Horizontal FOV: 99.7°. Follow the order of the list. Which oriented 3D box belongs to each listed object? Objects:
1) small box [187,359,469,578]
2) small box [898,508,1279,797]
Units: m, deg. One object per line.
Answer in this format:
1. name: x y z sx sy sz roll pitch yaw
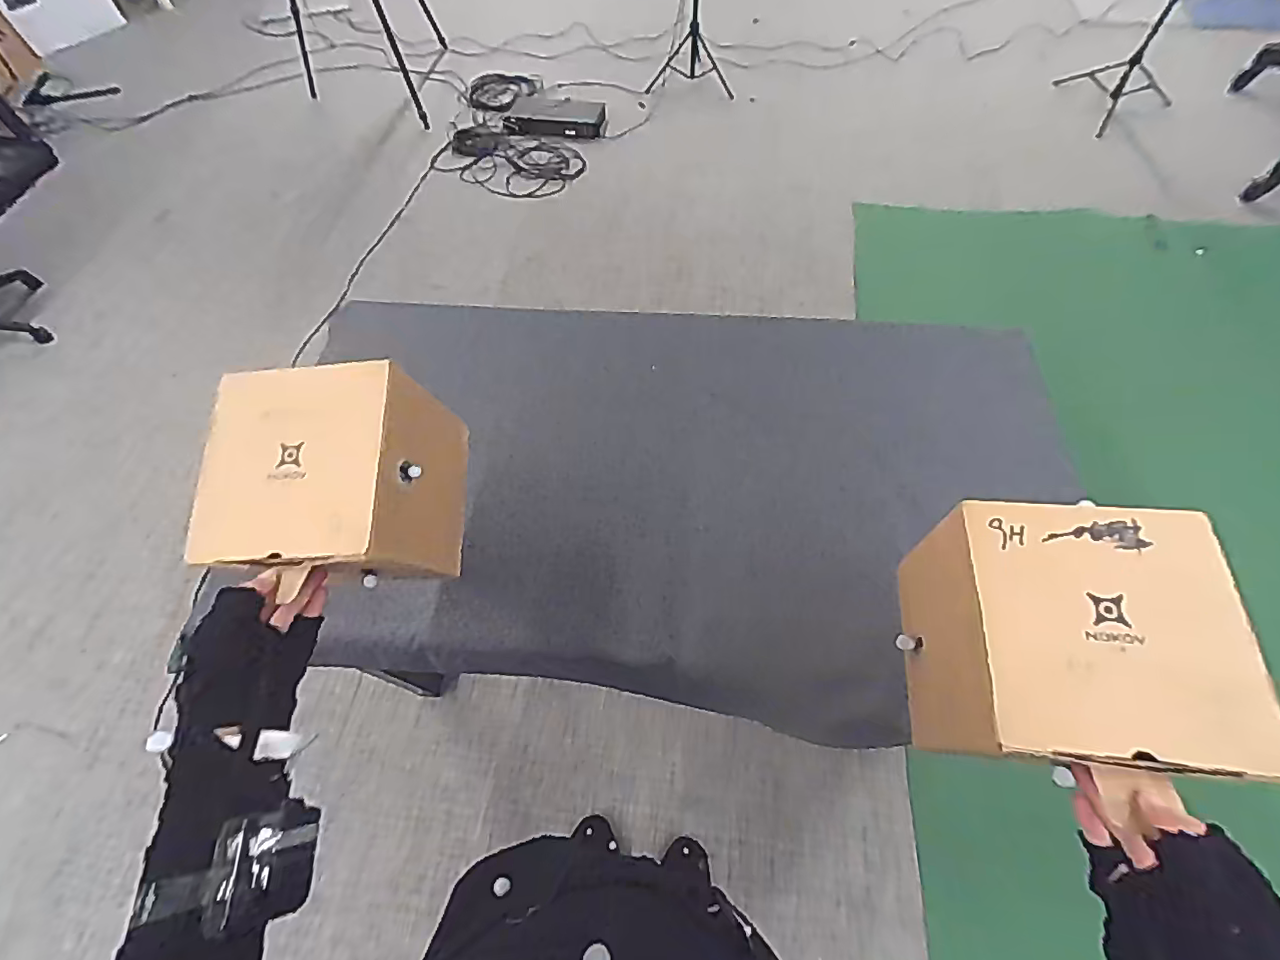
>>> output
1. small box: -0.283 0.003 0.534 0.168 0.176 0.179 -3 73 6
2. small box: 0.325 0.138 0.438 0.168 0.176 0.179 3 65 8
